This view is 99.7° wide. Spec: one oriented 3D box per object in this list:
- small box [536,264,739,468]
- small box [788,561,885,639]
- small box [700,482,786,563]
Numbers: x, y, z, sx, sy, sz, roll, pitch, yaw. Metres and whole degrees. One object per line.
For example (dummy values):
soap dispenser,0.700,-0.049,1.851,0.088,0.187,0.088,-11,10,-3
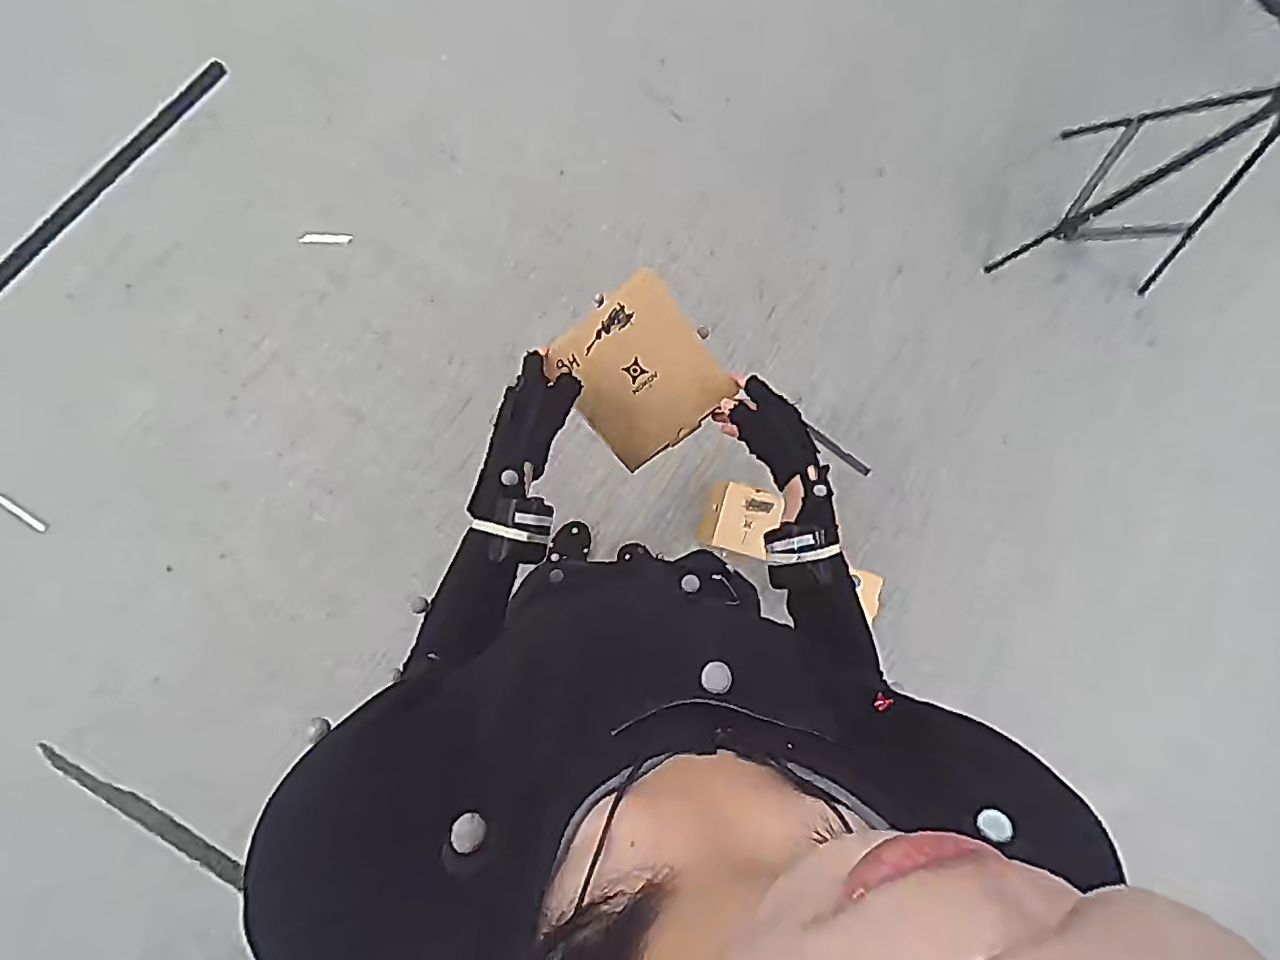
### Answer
small box,-0.001,-0.150,0.682,0.168,0.176,0.179,-38,106,13
small box,0.545,0.328,1.511,0.179,0.176,0.168,18,82,-5
small box,0.277,0.118,1.492,0.168,0.176,0.179,18,83,-6
